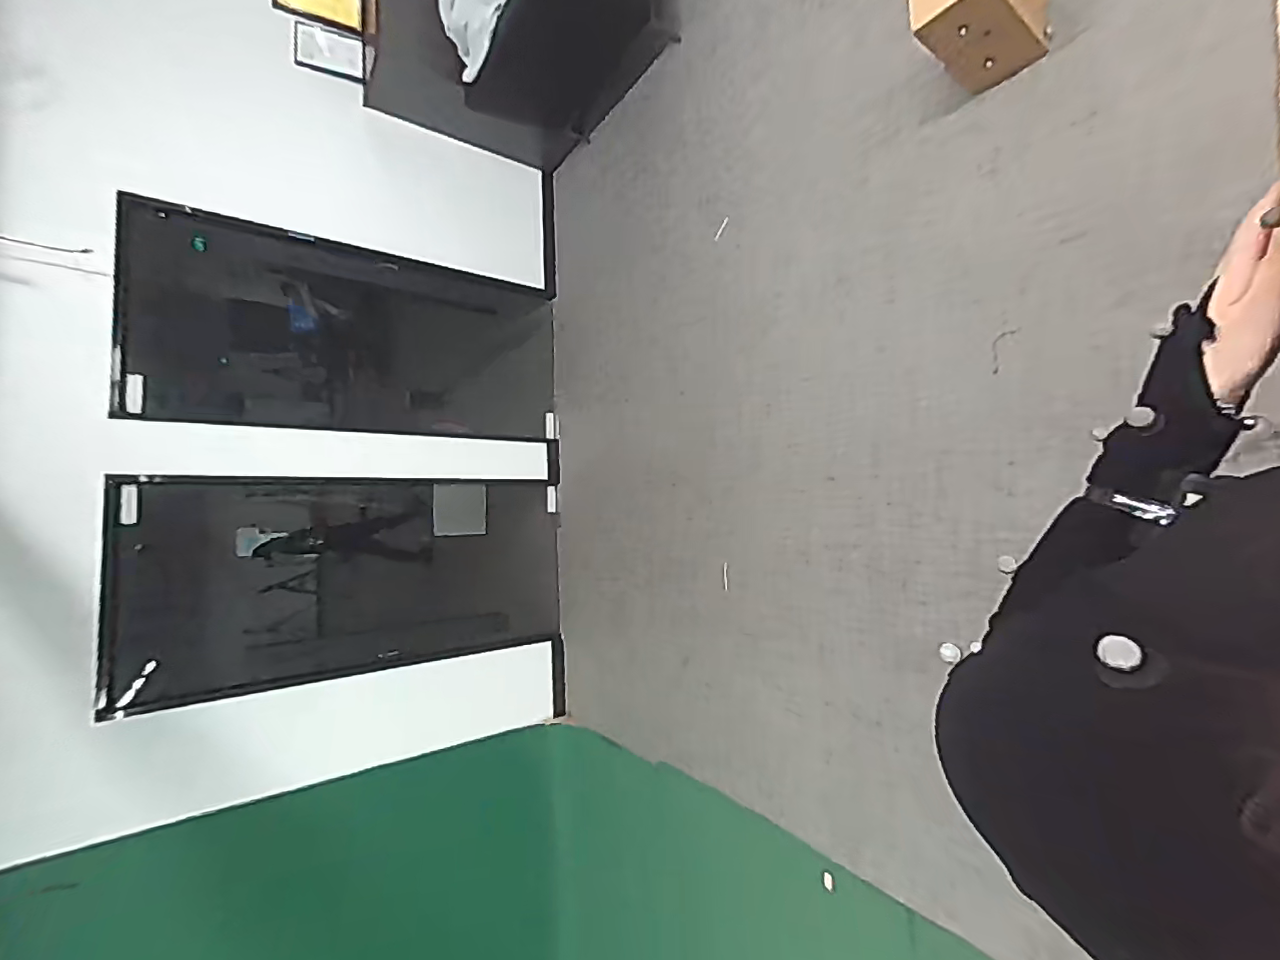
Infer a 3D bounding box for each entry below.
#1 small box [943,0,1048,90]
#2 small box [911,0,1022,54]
[{"bbox_3d":[0.866,-1.108,1.316,0.179,0.176,0.168,-5,86,56],"label":"small box"},{"bbox_3d":[0.735,-1.111,1.216,0.168,0.176,0.179,-4,86,54],"label":"small box"}]
